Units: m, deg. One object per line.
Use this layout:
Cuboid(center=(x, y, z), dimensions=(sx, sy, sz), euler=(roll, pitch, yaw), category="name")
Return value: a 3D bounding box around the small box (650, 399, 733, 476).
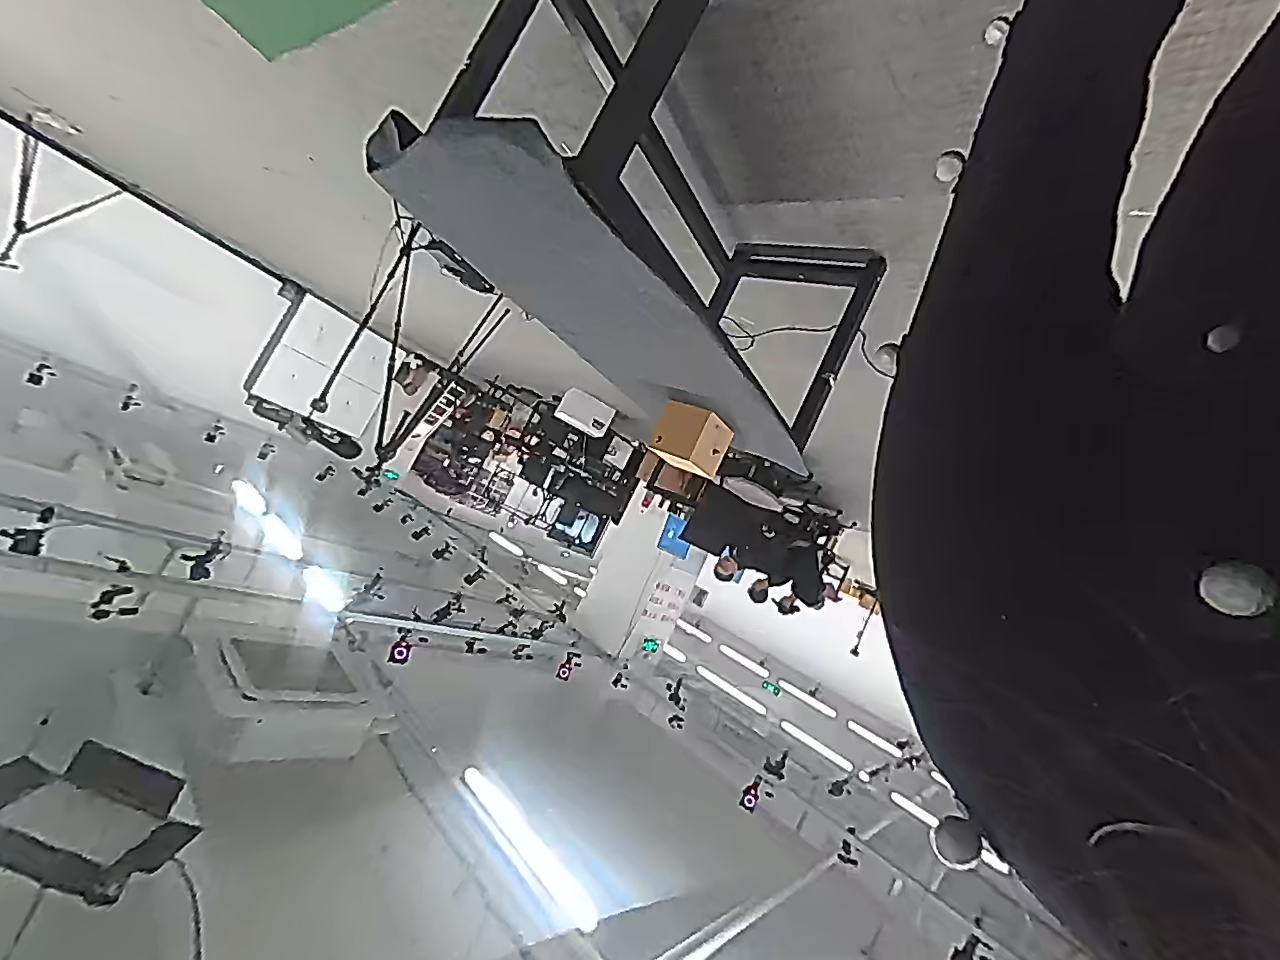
Cuboid(center=(0.167, -0.136, 1.676), dimensions=(0.179, 0.176, 0.168), euler=(23, 175, 39), category="small box")
